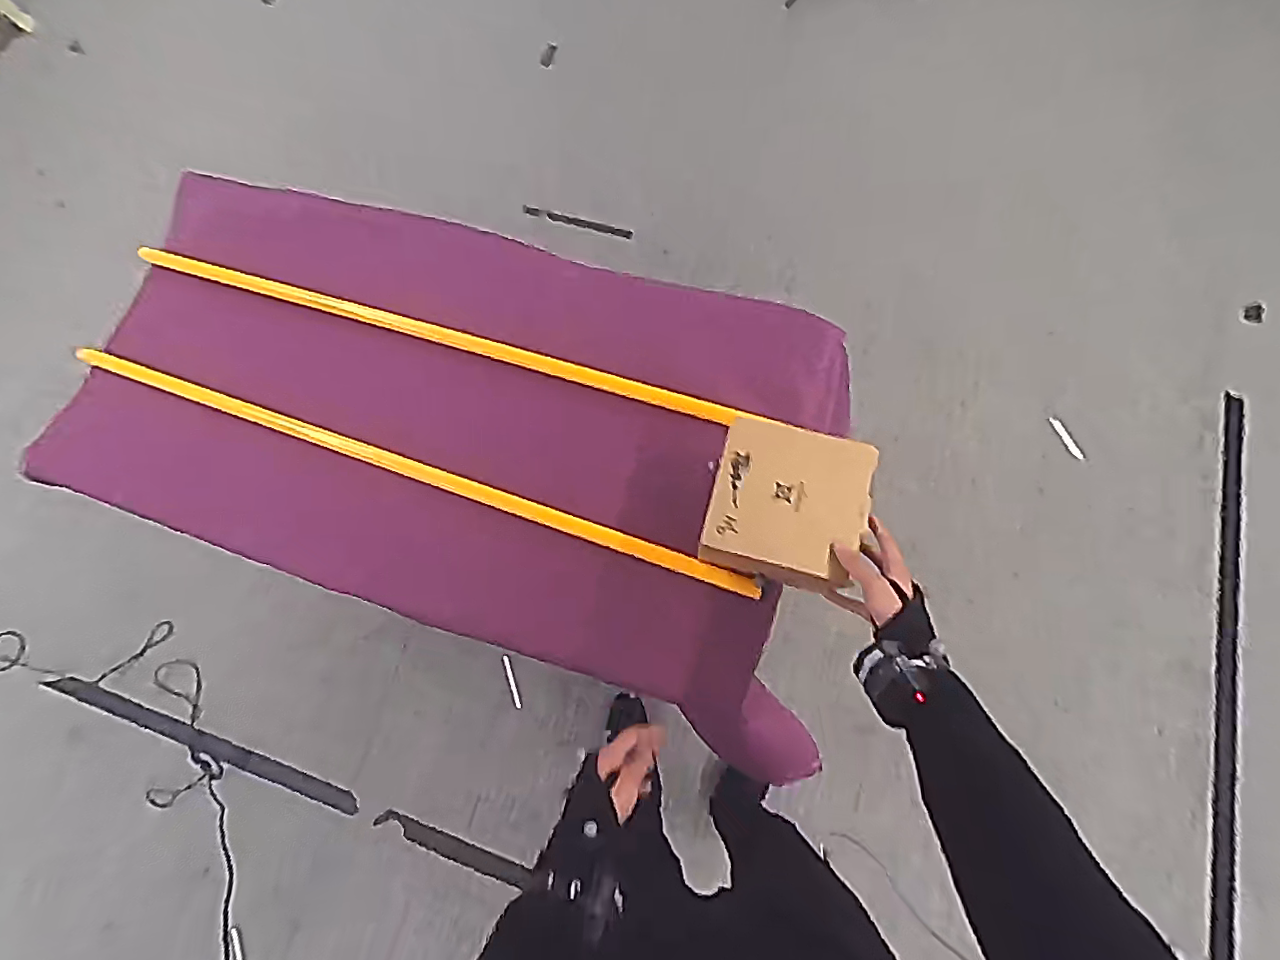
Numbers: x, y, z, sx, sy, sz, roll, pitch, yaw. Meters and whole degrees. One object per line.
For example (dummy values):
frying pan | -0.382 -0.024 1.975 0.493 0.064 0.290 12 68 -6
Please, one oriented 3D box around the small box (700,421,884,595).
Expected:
small box | 0.182 0.045 0.695 0.179 0.176 0.168 15 77 8
